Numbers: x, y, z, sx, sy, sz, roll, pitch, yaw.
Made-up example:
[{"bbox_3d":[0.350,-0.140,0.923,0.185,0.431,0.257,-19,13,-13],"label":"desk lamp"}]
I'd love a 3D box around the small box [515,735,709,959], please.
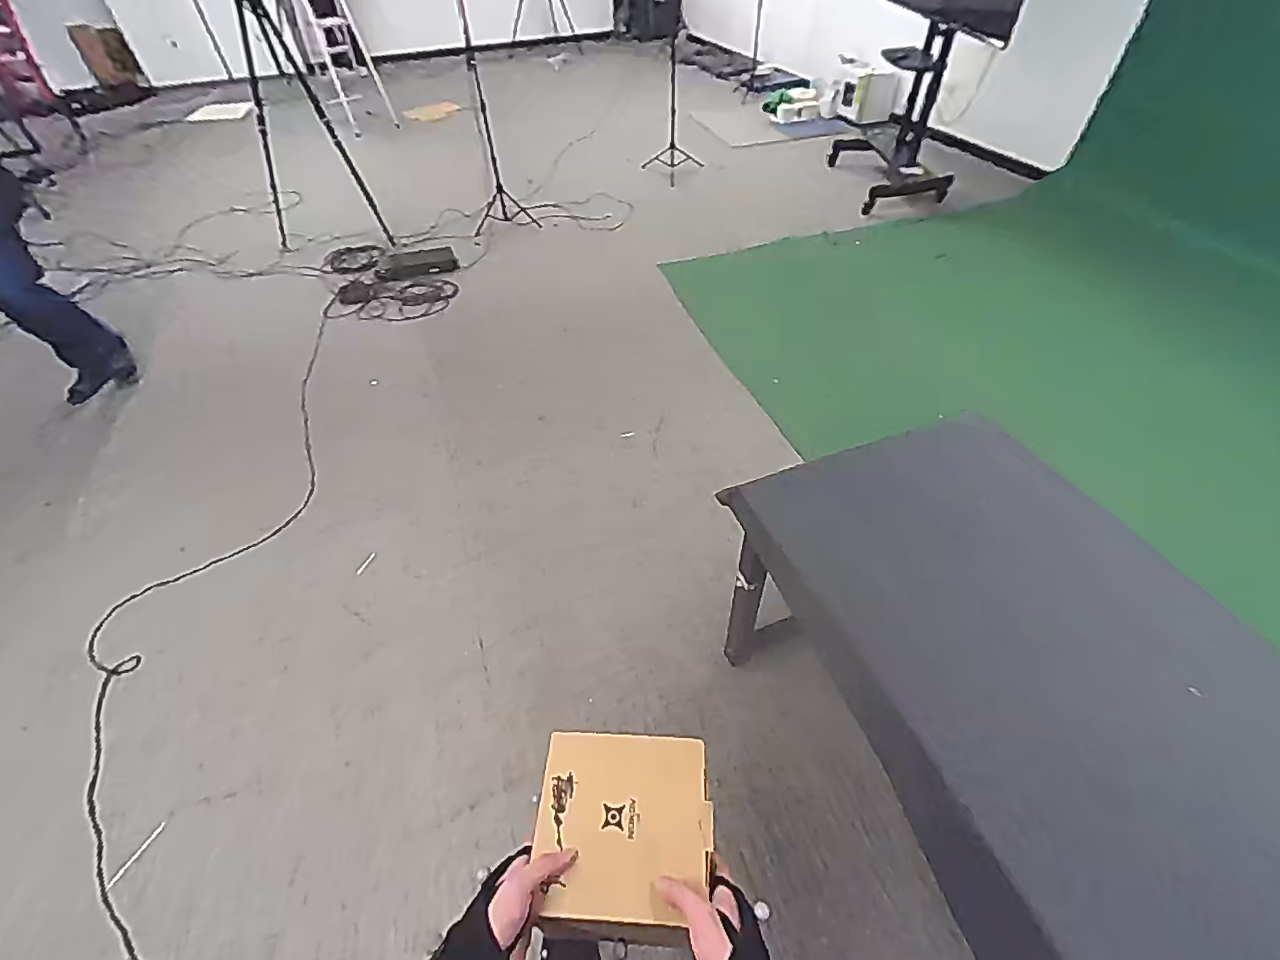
[{"bbox_3d":[-0.020,0.403,0.594,0.179,0.176,0.168,2,42,4],"label":"small box"}]
